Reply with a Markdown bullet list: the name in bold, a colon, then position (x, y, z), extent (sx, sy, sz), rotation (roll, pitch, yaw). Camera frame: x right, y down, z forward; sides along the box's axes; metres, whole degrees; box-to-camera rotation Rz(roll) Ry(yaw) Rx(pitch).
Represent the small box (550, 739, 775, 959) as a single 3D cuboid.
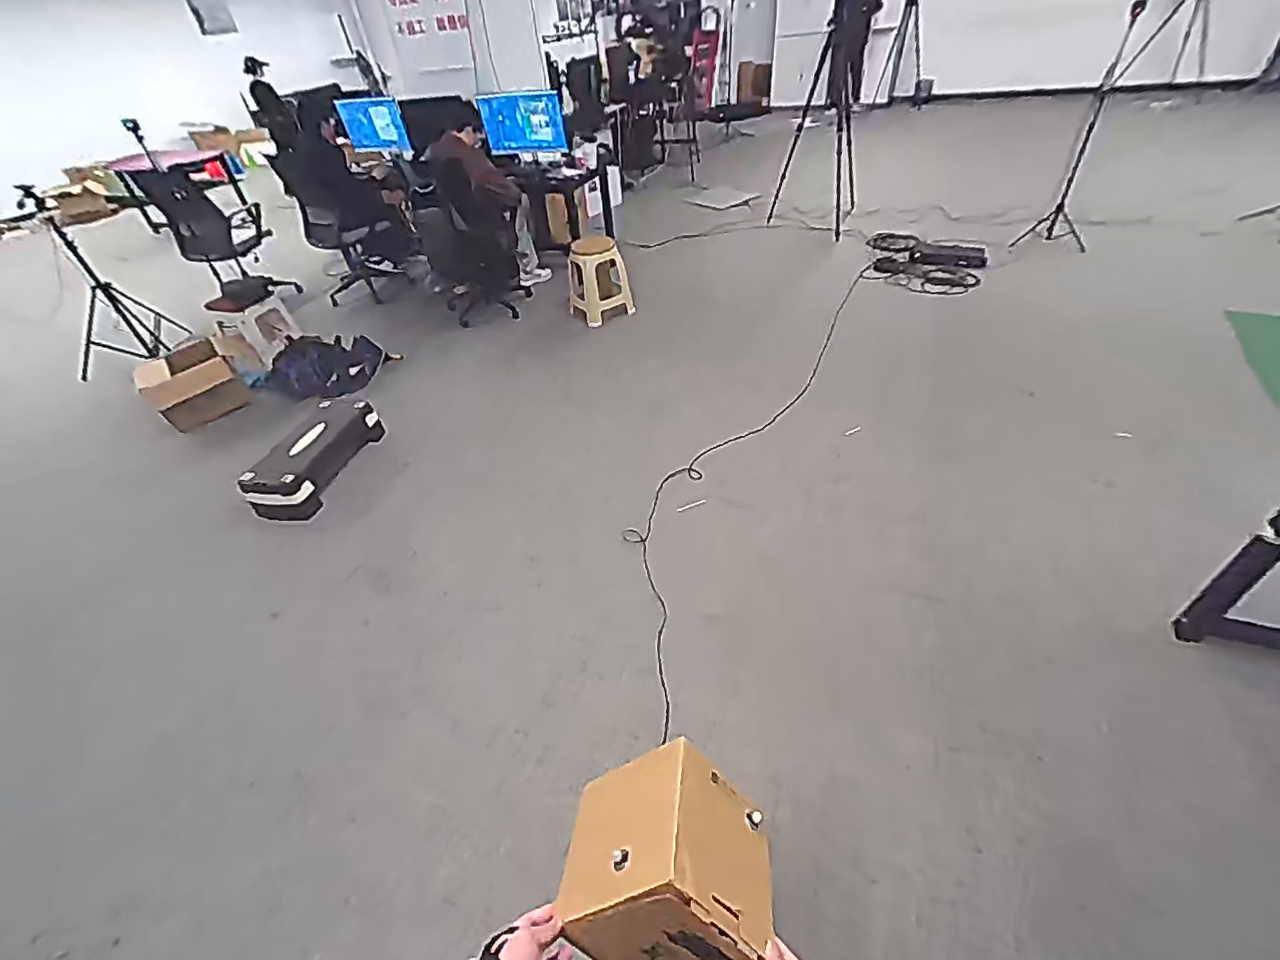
- **small box**: position (0.029, 0.436, 0.621), extent (0.179, 0.168, 0.176), rotation (-36, 15, 22)
